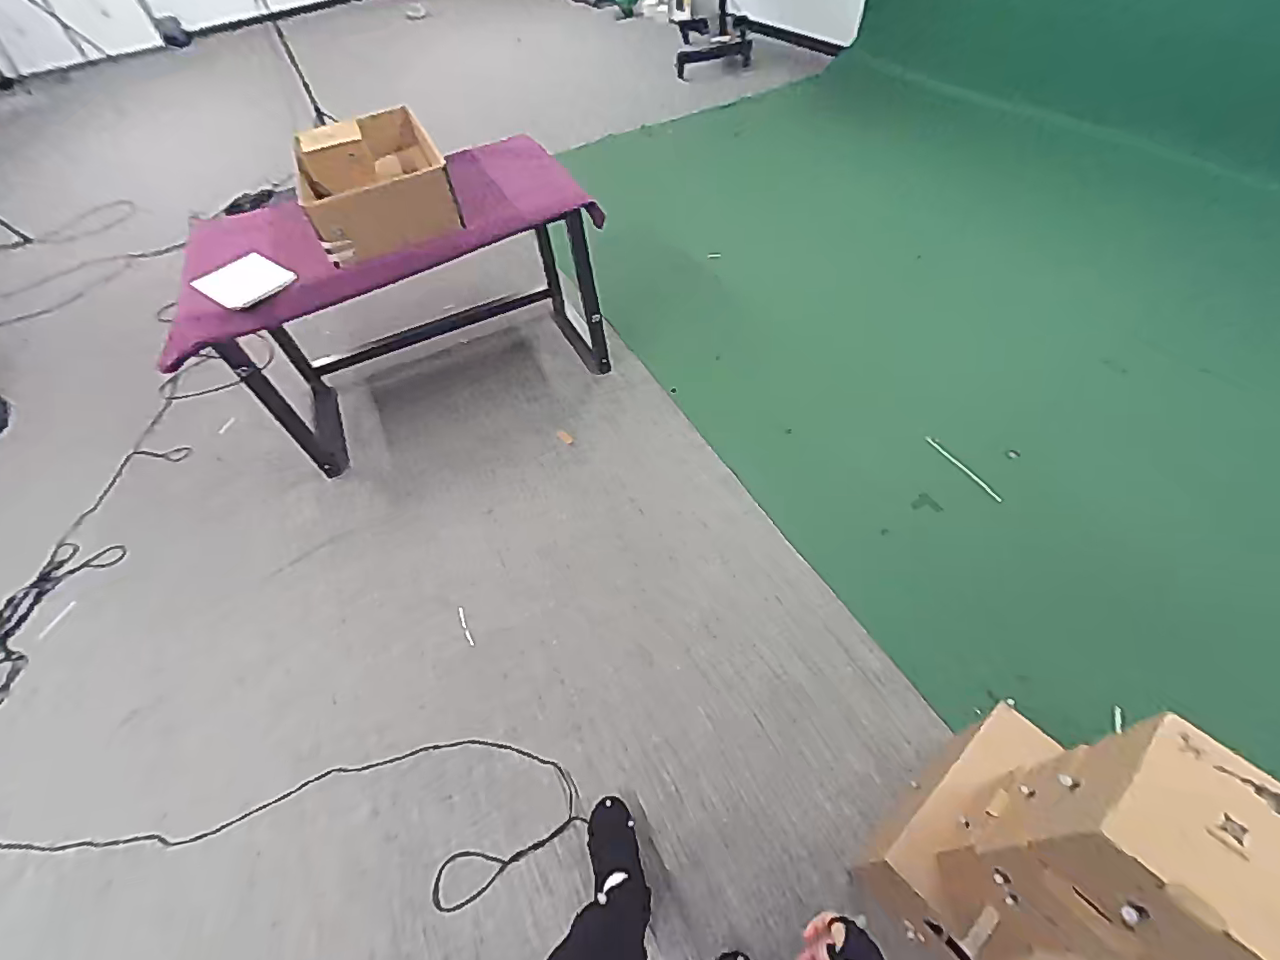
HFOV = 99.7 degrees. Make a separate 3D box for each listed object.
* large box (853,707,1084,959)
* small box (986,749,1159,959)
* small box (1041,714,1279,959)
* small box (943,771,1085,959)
[{"bbox_3d":[0.681,0.740,1.042,0.408,0.320,0.320,-36,56,-22],"label":"large box"},{"bbox_3d":[0.599,0.503,0.717,0.179,0.176,0.168,-37,55,-21],"label":"small box"},{"bbox_3d":[0.585,0.399,0.590,0.179,0.176,0.168,-37,56,-20],"label":"small box"},{"bbox_3d":[0.617,0.602,0.846,0.168,0.176,0.179,-36,55,-20],"label":"small box"}]
